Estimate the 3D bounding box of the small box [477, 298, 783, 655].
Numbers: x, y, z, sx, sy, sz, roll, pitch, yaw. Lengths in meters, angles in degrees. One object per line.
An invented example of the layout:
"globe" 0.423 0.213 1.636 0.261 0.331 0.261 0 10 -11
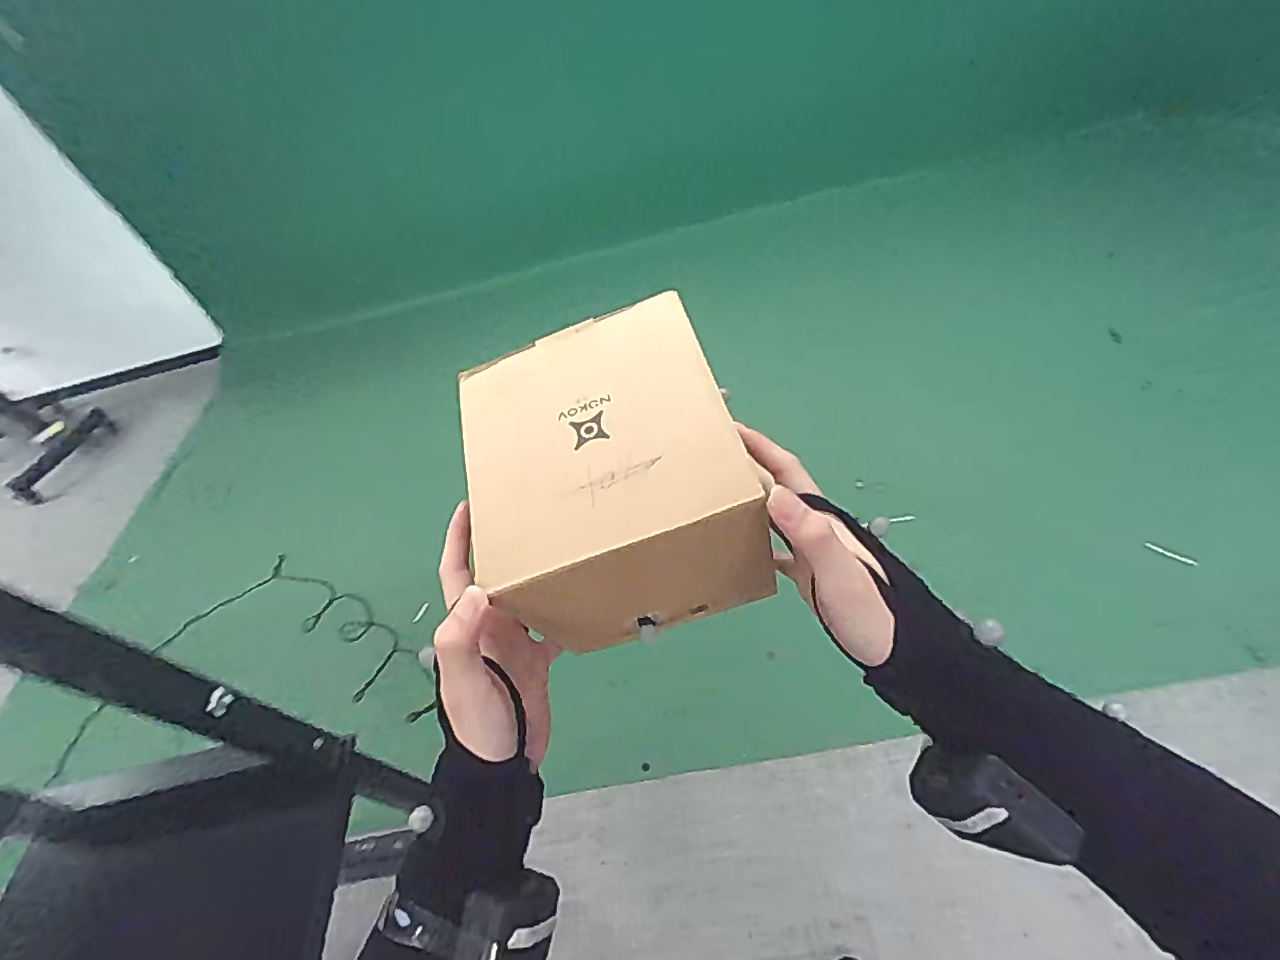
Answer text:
"small box" -0.003 0.008 0.400 0.168 0.176 0.179 -19 57 6
